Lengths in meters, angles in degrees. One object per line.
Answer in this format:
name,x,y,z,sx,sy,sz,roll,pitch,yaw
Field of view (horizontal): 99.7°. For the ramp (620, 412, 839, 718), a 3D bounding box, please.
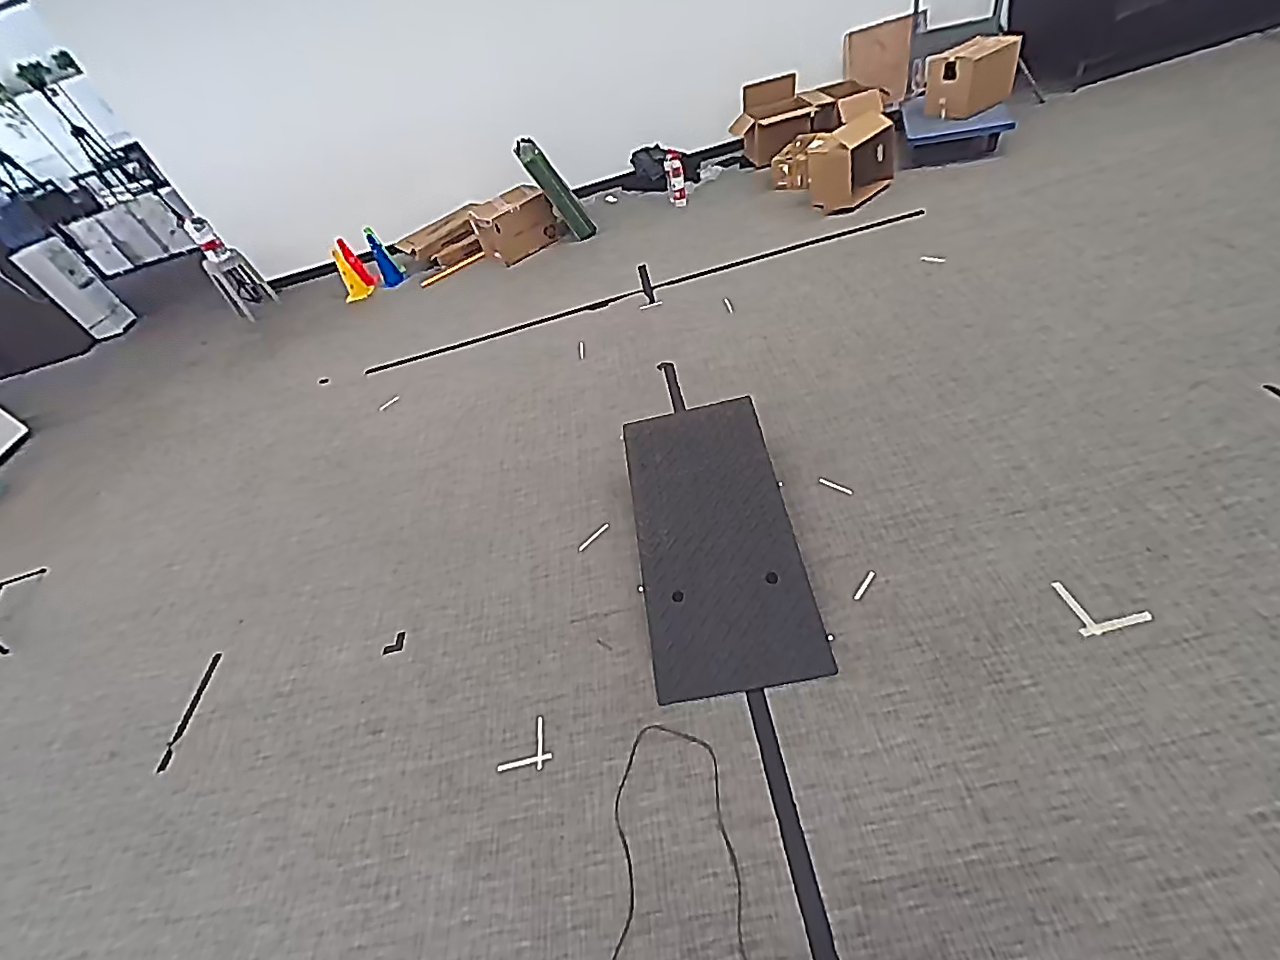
ramp,0.232,0.202,1.749,0.509,0.206,0.991,-15,44,4
